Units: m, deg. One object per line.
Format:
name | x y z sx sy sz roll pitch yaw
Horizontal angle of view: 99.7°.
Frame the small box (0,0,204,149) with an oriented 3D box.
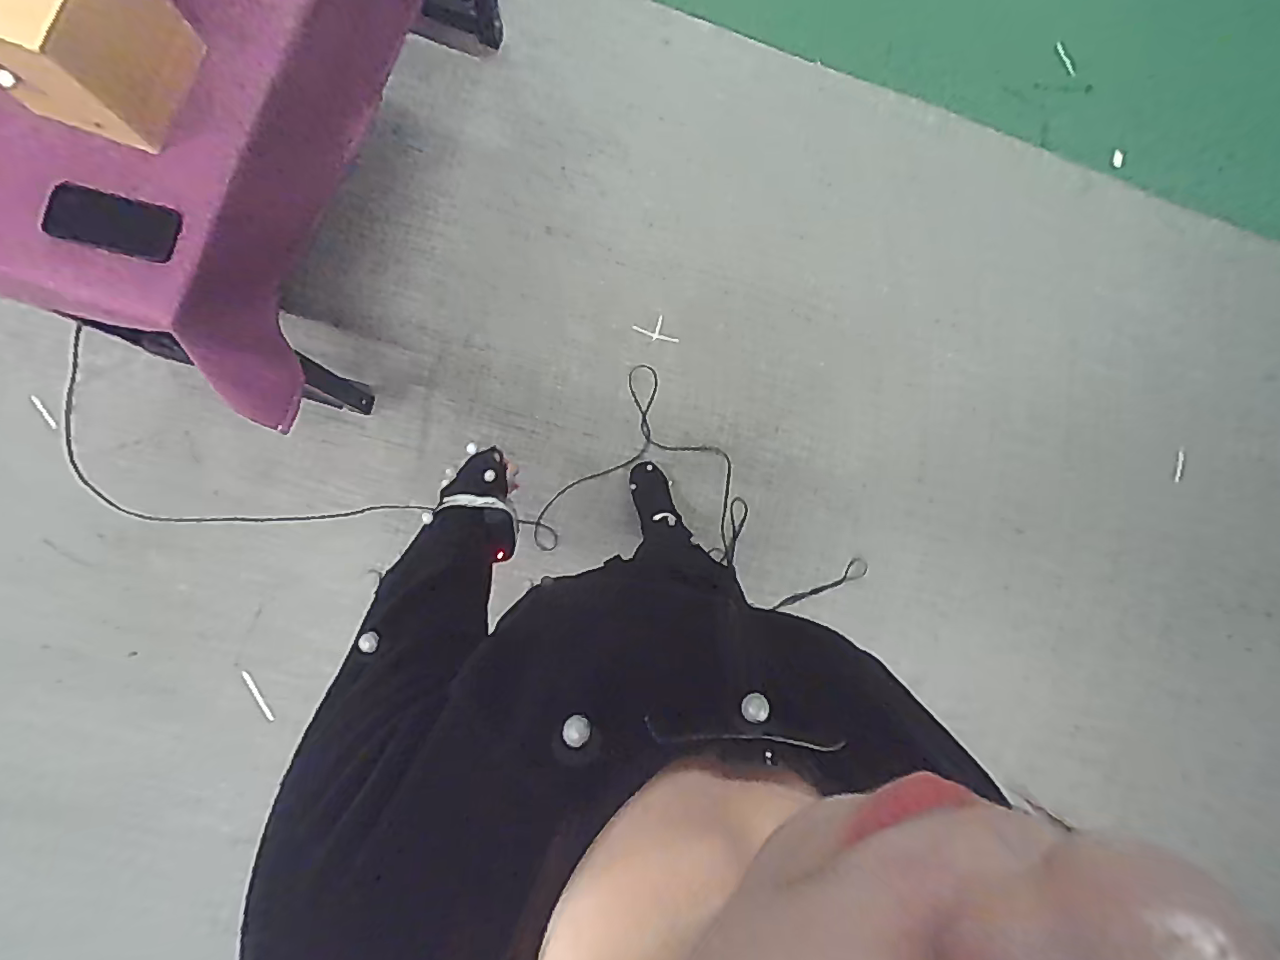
small box | -0.689 -0.552 0.657 0.168 0.176 0.179 18 82 -5
